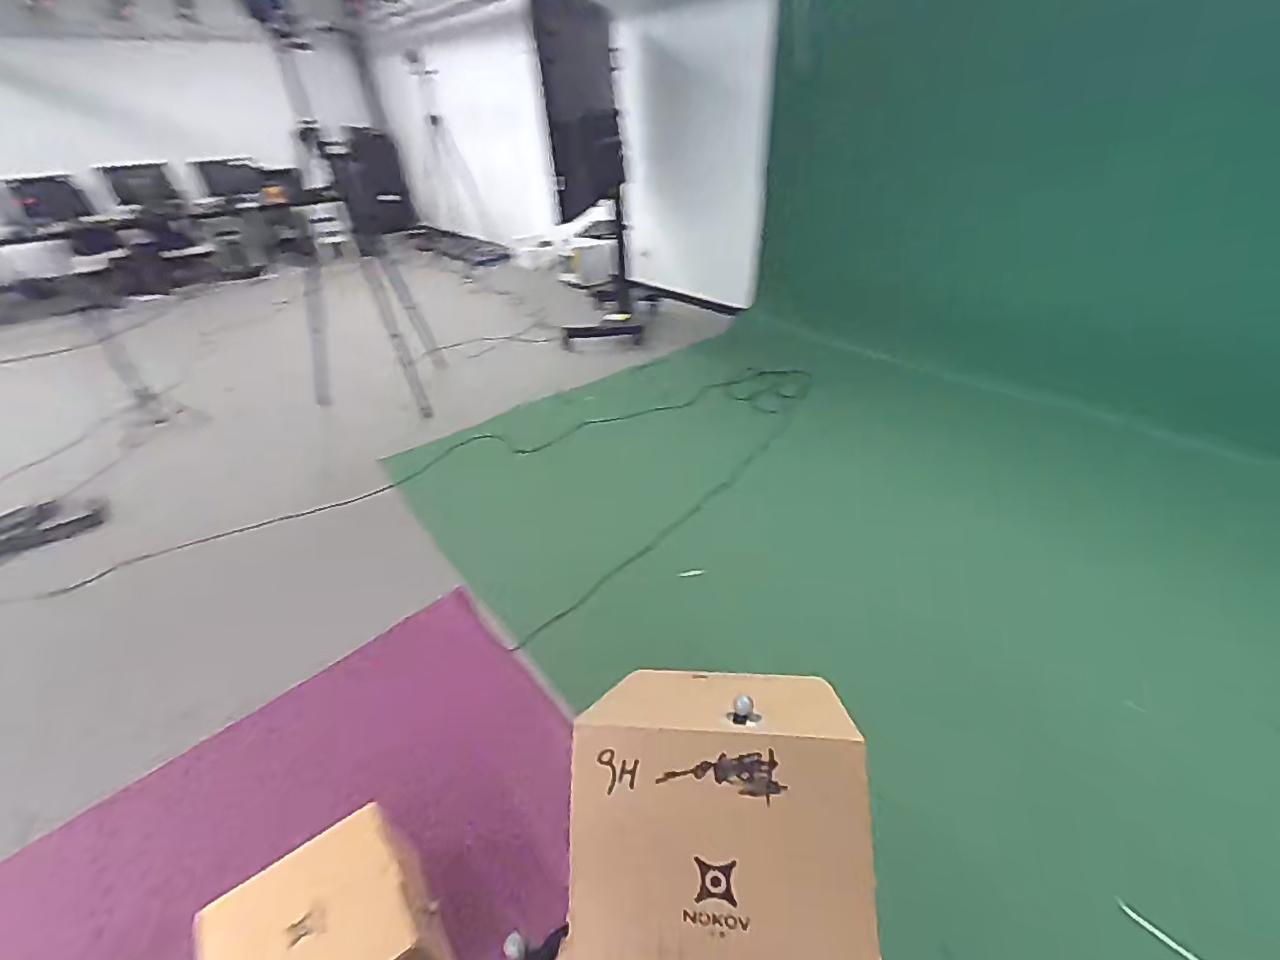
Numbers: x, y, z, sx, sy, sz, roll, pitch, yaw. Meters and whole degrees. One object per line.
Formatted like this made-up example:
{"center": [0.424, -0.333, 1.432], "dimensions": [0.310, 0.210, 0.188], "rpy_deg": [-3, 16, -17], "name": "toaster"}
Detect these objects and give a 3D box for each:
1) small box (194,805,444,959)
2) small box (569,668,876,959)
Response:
{"center": [-0.333, 0.510, 0.581], "dimensions": [0.179, 0.176, 0.168], "rpy_deg": [-25, 40, -28], "name": "small box"}
{"center": [0.059, 0.240, 0.369], "dimensions": [0.168, 0.179, 0.176], "rpy_deg": [-1, -9, 13], "name": "small box"}
